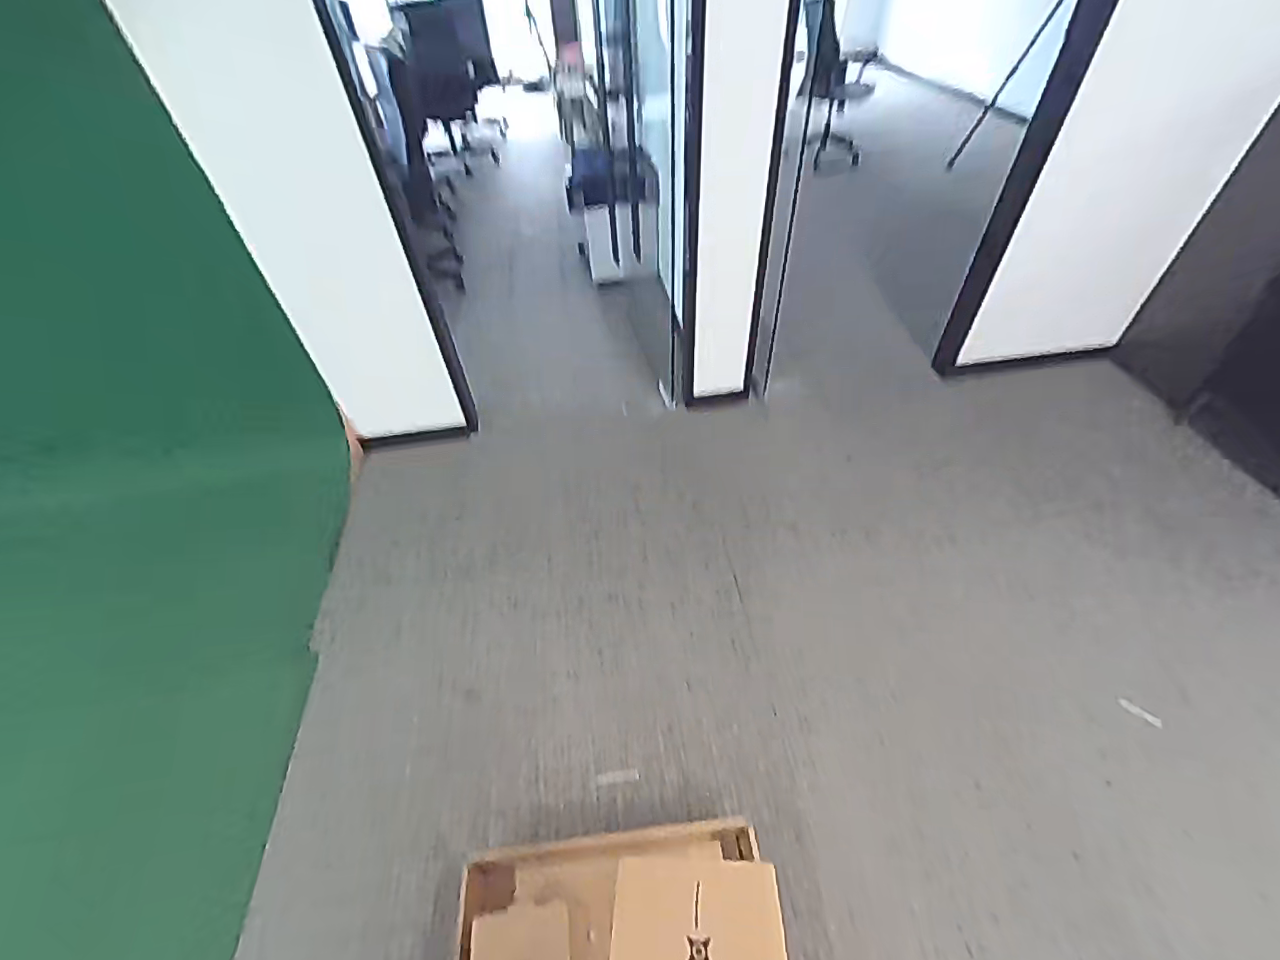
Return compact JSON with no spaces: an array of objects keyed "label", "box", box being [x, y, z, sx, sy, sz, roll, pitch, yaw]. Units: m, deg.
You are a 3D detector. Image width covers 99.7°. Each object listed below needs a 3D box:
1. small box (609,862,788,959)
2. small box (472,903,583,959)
[{"label":"small box","box":[0.057,0.510,0.524,0.168,0.176,0.179,-1,29,4]},{"label":"small box","box":[-0.188,0.854,0.920,0.168,0.176,0.179,-8,46,-4]}]
